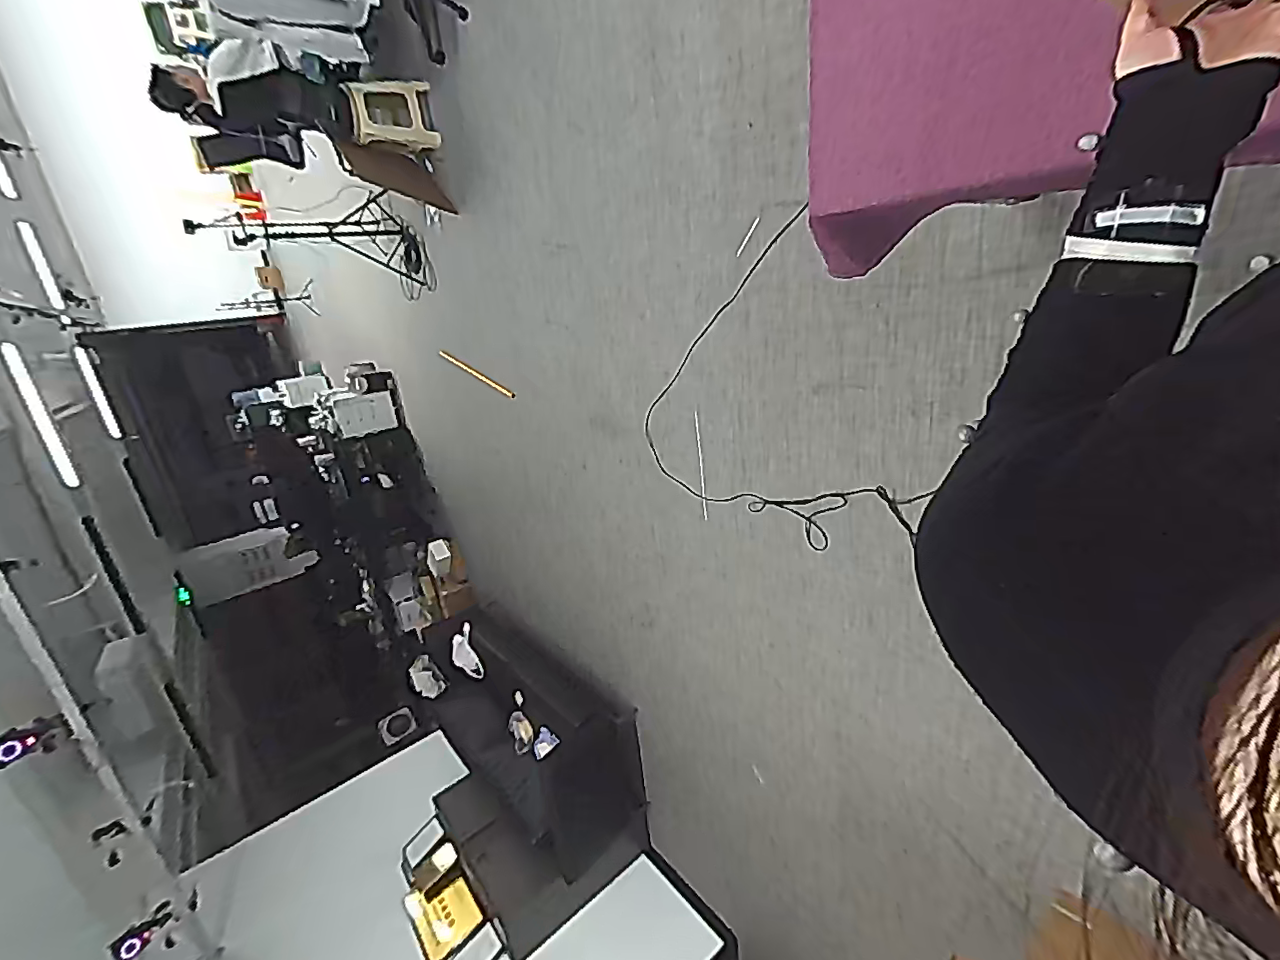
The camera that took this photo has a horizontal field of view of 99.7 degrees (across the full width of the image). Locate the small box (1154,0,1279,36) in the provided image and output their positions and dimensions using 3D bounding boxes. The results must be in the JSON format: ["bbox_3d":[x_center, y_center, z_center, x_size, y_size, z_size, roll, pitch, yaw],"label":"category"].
[{"bbox_3d":[0.478,-0.458,0.375,0.168,0.176,0.179,15,118,50],"label":"small box"}]
